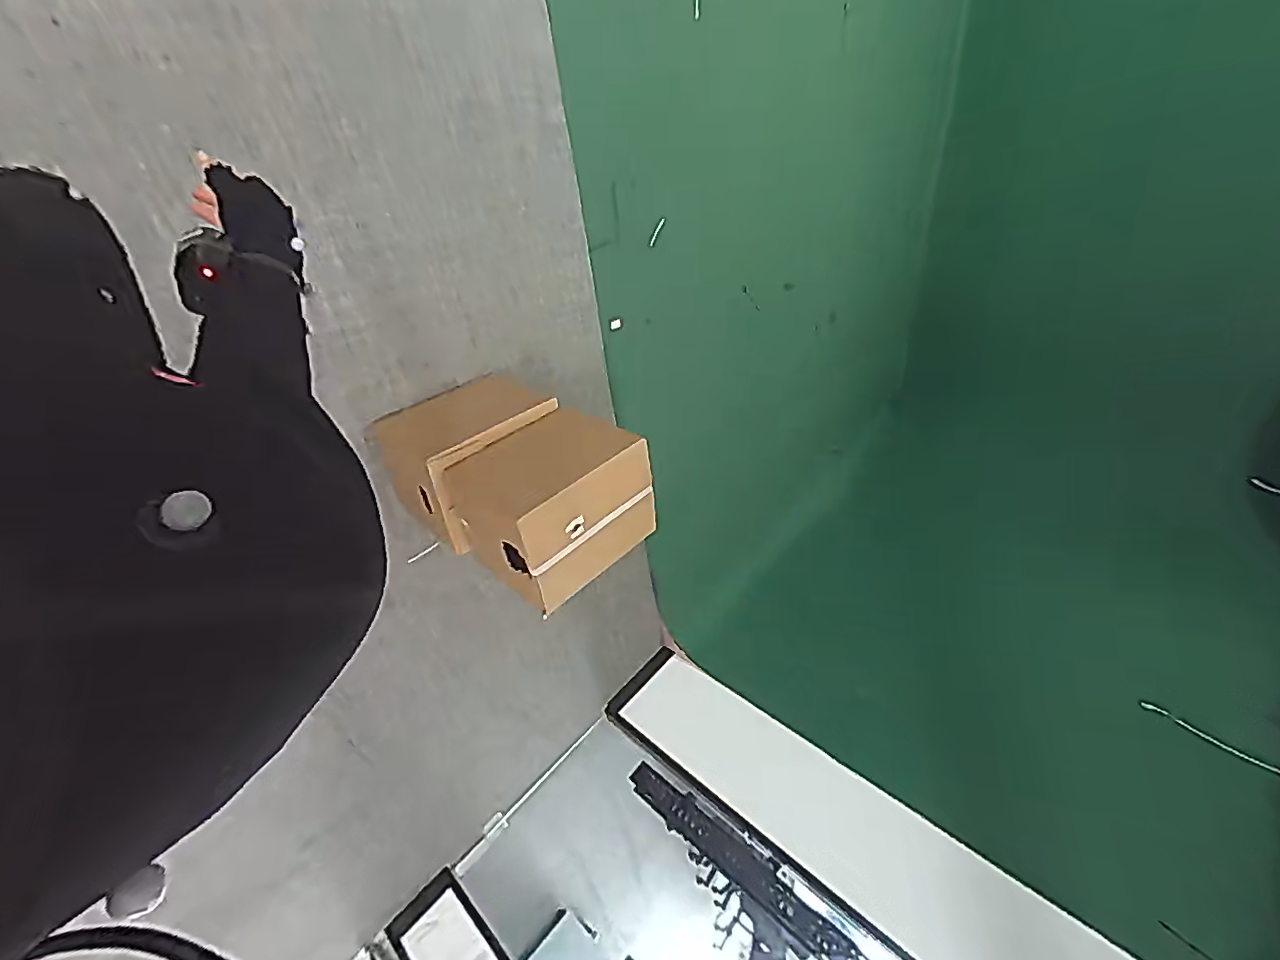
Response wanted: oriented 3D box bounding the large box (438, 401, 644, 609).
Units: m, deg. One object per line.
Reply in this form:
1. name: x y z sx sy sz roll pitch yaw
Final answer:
1. large box: -0.241 0.044 1.422 0.408 0.320 0.320 -35 136 -33
